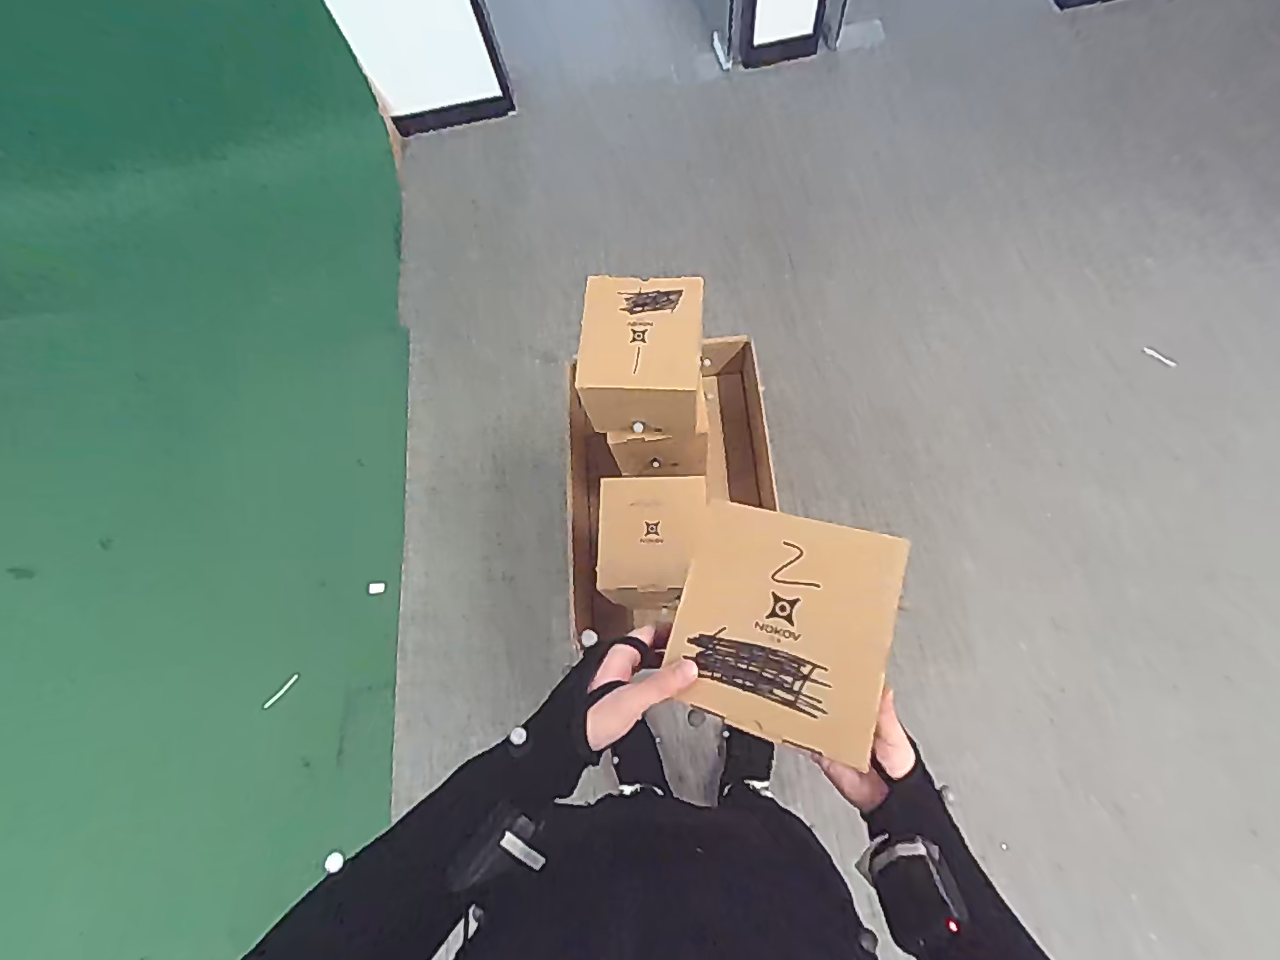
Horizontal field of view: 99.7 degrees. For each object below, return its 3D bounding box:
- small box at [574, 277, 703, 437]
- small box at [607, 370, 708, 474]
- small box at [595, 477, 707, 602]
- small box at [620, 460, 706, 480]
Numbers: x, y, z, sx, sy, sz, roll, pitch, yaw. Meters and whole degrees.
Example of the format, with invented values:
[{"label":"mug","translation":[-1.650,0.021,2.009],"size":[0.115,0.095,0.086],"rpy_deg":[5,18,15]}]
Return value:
[{"label":"small box","translation":[0.006,-0.179,0.814],"size":[0.168,0.176,0.179],"rpy_deg":[3,74,7]},{"label":"small box","translation":[0.028,-0.125,0.968],"size":[0.168,0.176,0.179],"rpy_deg":[-7,72,4]},{"label":"small box","translation":[0.026,0.103,0.885],"size":[0.168,0.176,0.179],"rpy_deg":[0,70,6]},{"label":"small box","translation":[0.045,-0.078,1.122],"size":[0.168,0.176,0.179],"rpy_deg":[-6,72,5]}]
